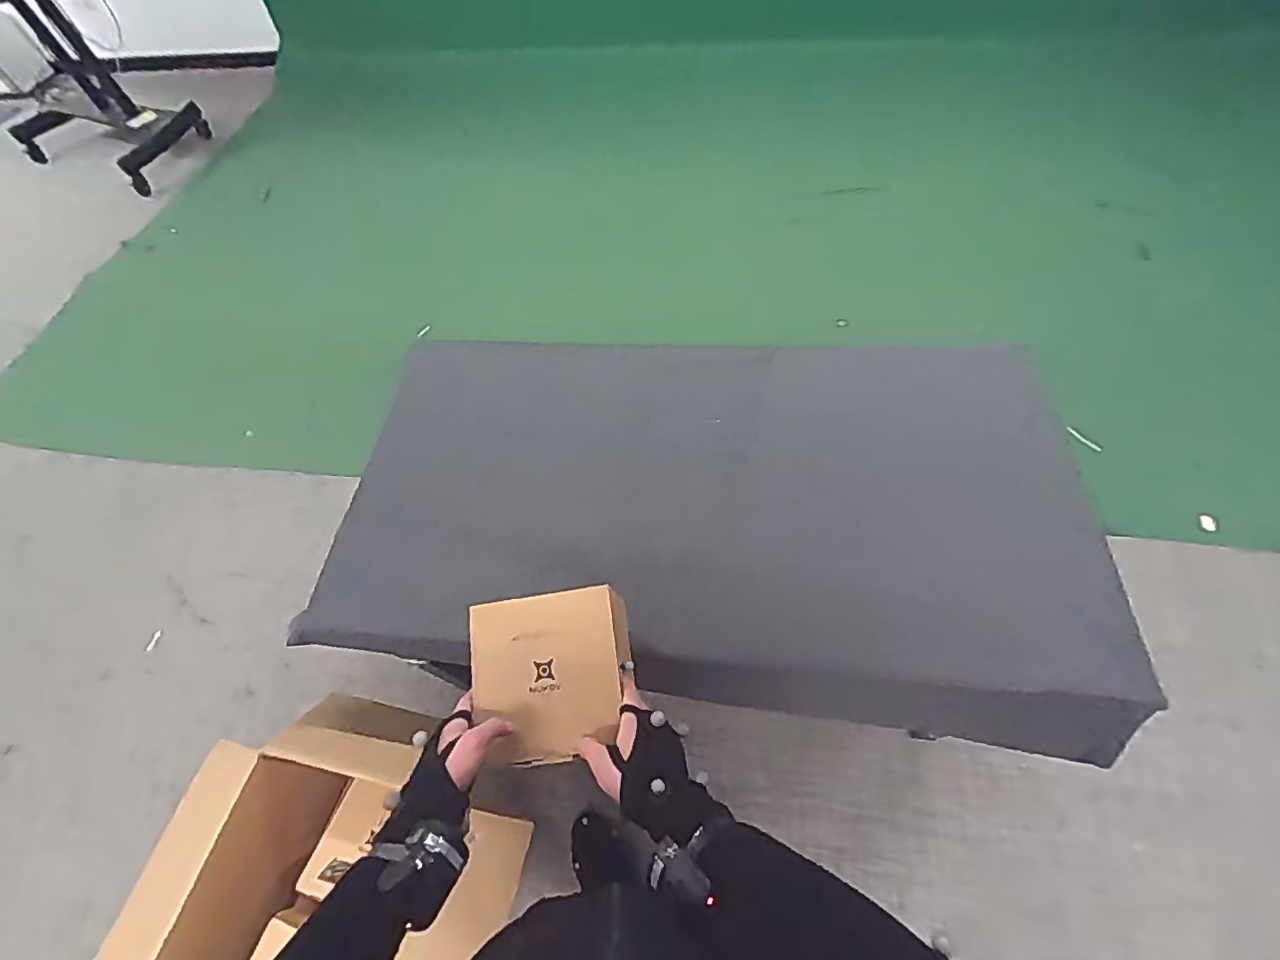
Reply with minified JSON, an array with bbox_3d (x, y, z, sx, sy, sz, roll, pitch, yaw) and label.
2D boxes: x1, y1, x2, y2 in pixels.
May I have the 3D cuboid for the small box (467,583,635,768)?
[{"bbox_3d":[-0.103,0.237,0.674,0.168,0.176,0.179,-10,70,1],"label":"small box"}]
